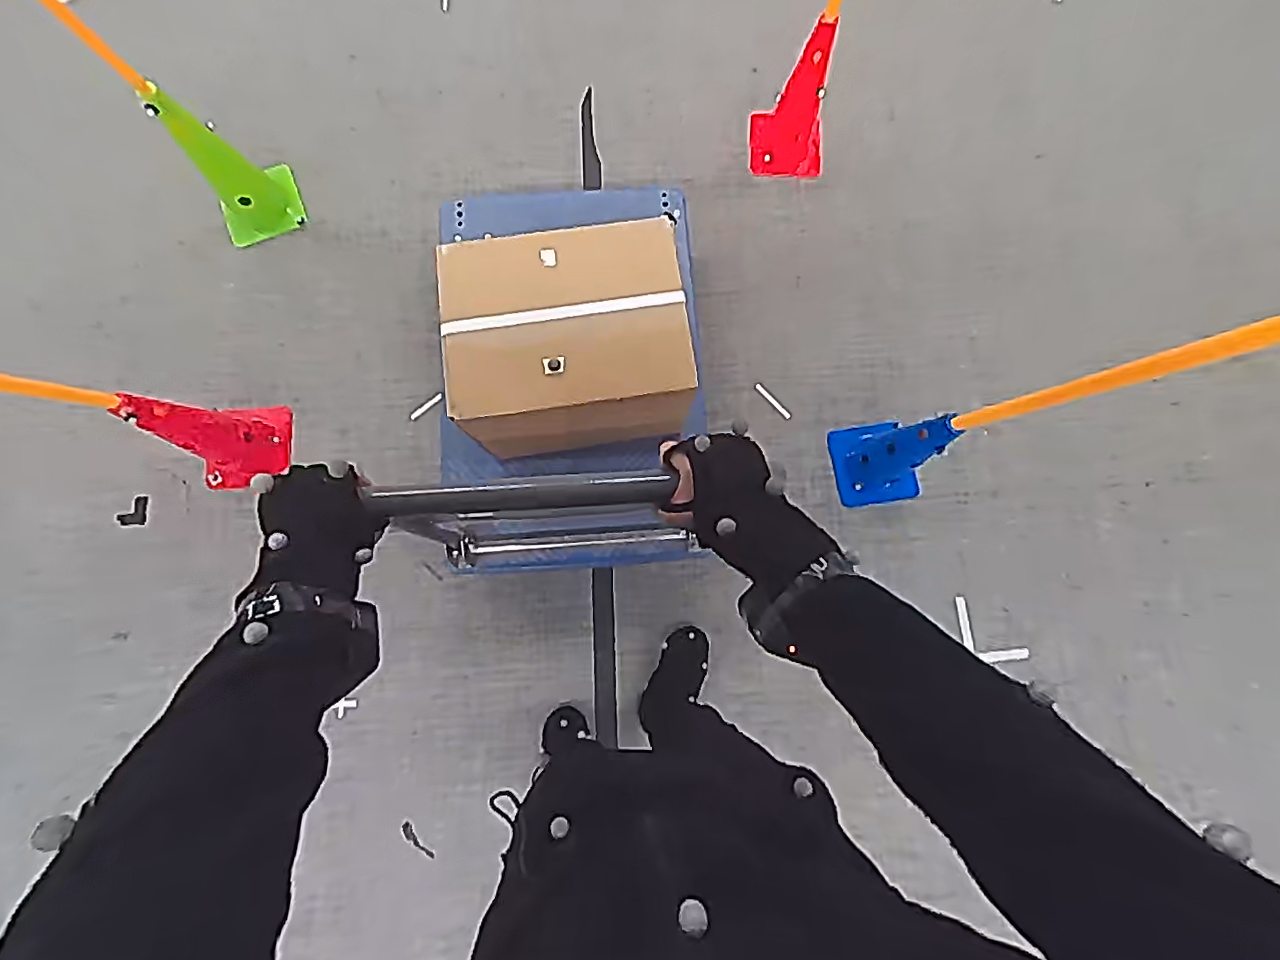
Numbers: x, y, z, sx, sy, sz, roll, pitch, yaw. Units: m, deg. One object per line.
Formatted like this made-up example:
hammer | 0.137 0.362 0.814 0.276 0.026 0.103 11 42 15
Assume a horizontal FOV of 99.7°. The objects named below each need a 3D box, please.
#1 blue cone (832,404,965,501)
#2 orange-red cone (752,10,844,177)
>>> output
blue cone | 0.589 -0.078 1.187 0.193 0.380 0.192 -7 79 -2
orange-red cone | 0.417 -0.962 1.328 0.199 0.360 0.198 4 80 -1
